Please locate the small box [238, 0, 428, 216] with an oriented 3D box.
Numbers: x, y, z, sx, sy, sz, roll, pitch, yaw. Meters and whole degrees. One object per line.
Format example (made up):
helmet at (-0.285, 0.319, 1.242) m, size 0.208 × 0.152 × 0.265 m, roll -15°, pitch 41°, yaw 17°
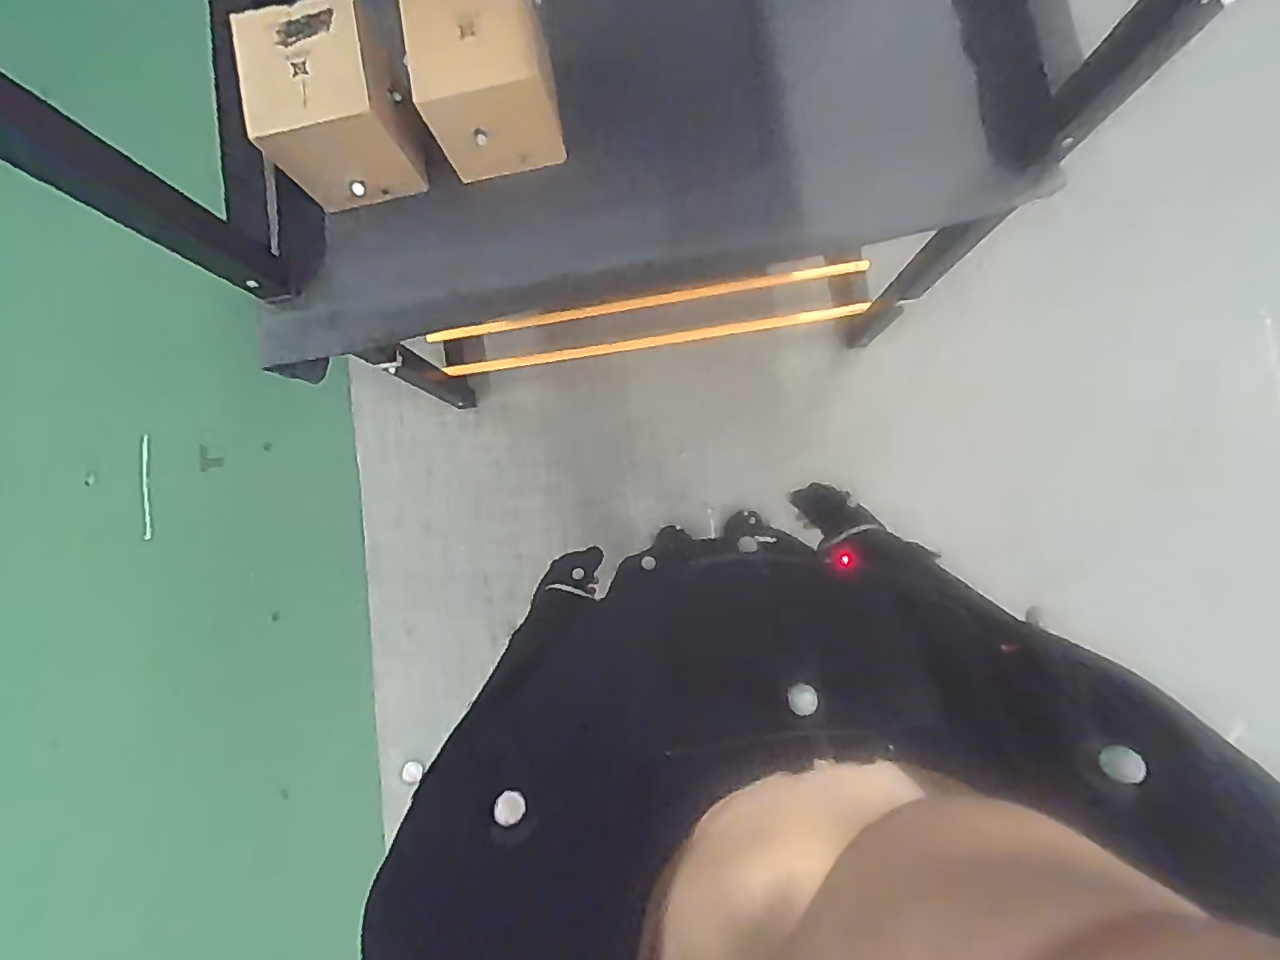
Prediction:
small box at (-0.426, -0.518, 0.773) m, size 0.168 × 0.176 × 0.179 m, roll -11°, pitch 85°, yaw 3°
